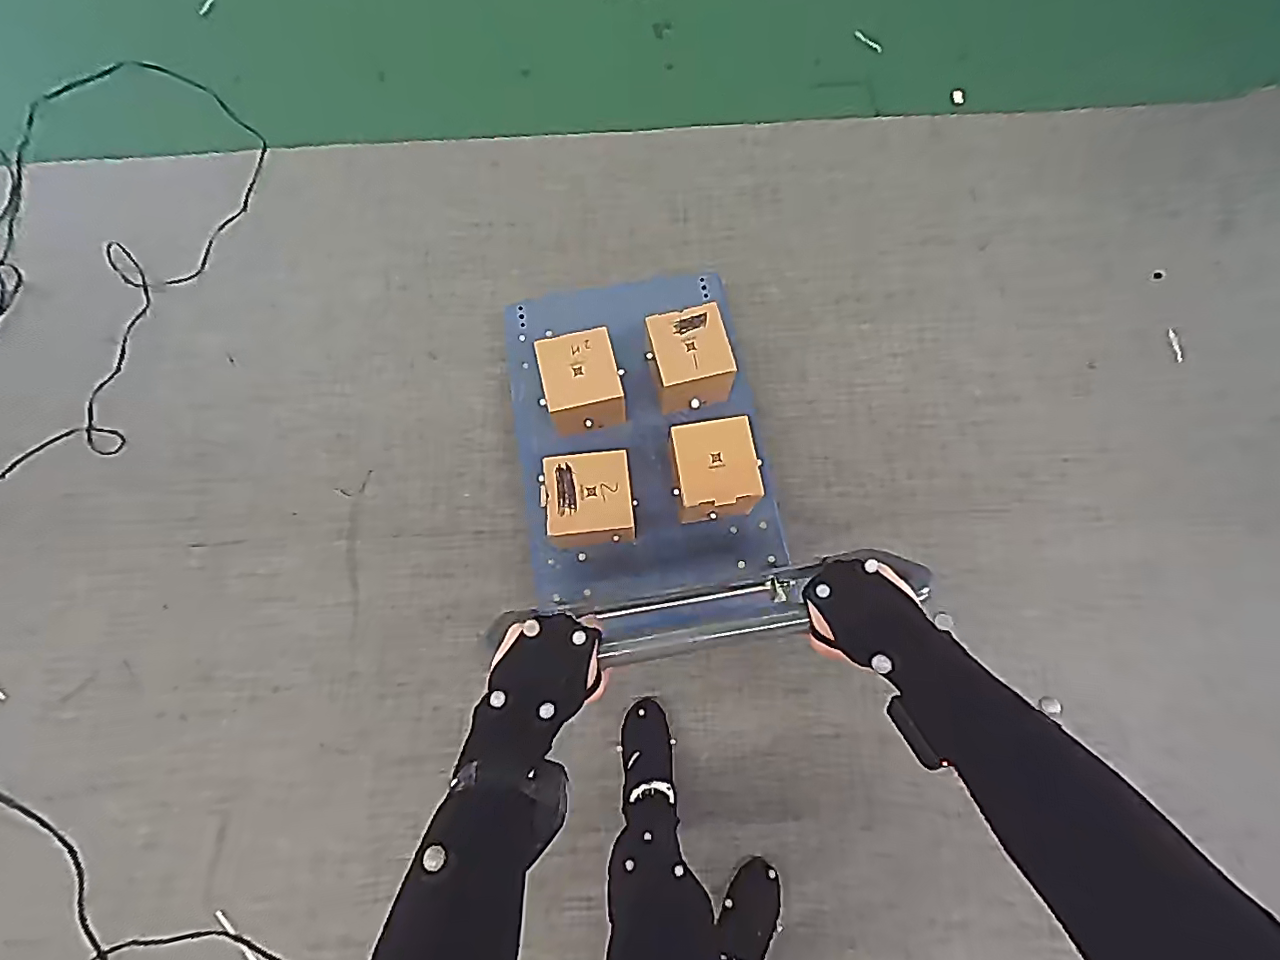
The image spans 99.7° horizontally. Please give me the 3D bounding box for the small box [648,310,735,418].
[{"bbox_3d":[0.113,-0.269,1.279,0.168,0.176,0.179,-13,75,-2],"label":"small box"}]

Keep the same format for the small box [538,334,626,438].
[{"bbox_3d":[-0.131,-0.210,1.267,0.168,0.176,0.179,-13,74,-4],"label":"small box"}]

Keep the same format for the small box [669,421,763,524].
[{"bbox_3d":[0.160,-0.013,1.207,0.168,0.176,0.179,-9,75,-2],"label":"small box"}]
